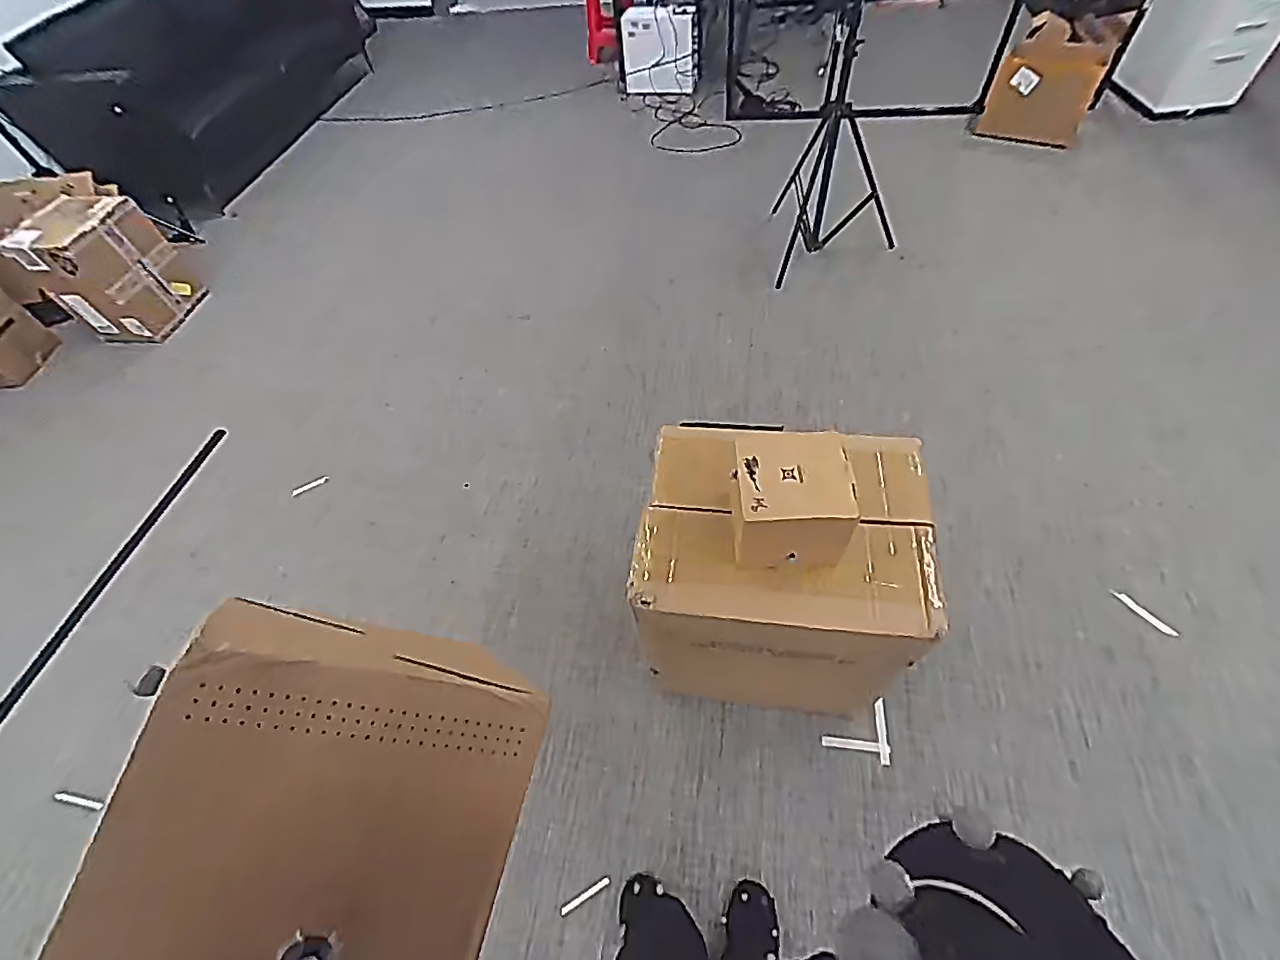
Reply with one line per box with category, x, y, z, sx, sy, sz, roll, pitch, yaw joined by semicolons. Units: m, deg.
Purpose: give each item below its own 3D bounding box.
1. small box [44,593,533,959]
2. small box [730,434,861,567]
small box;-0.184;0.174;0.318;0.179;0.168;0.176;23;72;-27
small box;0.250;0.040;0.916;0.179;0.176;0.168;-2;56;5
